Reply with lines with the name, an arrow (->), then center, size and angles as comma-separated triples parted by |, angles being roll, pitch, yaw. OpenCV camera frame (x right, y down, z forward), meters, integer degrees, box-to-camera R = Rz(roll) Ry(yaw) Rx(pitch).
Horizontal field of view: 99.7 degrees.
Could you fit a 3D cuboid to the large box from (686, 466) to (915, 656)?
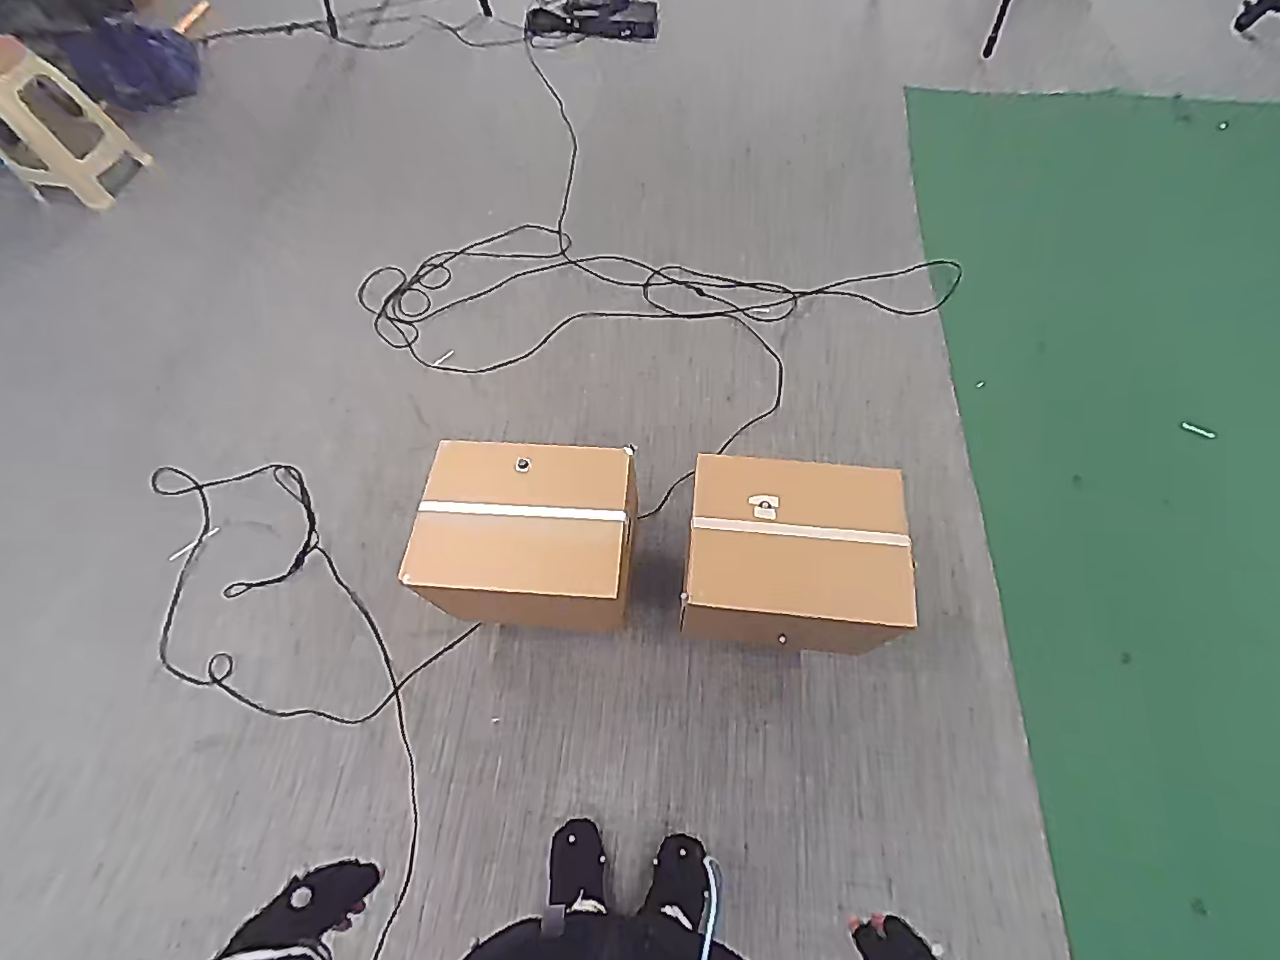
large box -> 0.313, 0.185, 1.165 | 0.408, 0.320, 0.320 | 5, 63, 5
